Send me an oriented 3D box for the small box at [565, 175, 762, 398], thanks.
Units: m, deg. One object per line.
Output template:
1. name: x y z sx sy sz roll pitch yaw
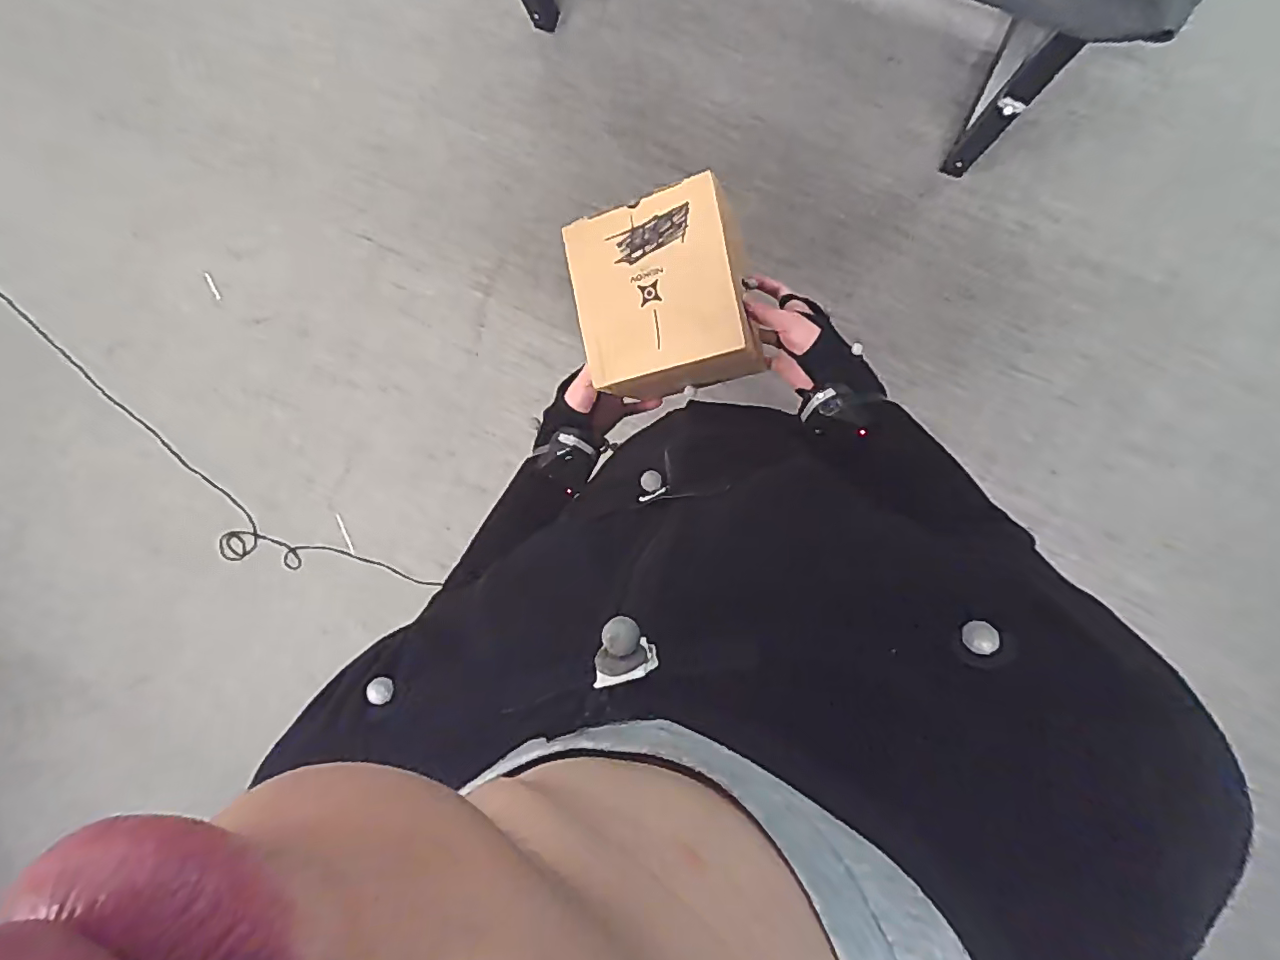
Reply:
1. small box: 0.036 -0.201 0.620 0.168 0.176 0.179 -11 90 20
